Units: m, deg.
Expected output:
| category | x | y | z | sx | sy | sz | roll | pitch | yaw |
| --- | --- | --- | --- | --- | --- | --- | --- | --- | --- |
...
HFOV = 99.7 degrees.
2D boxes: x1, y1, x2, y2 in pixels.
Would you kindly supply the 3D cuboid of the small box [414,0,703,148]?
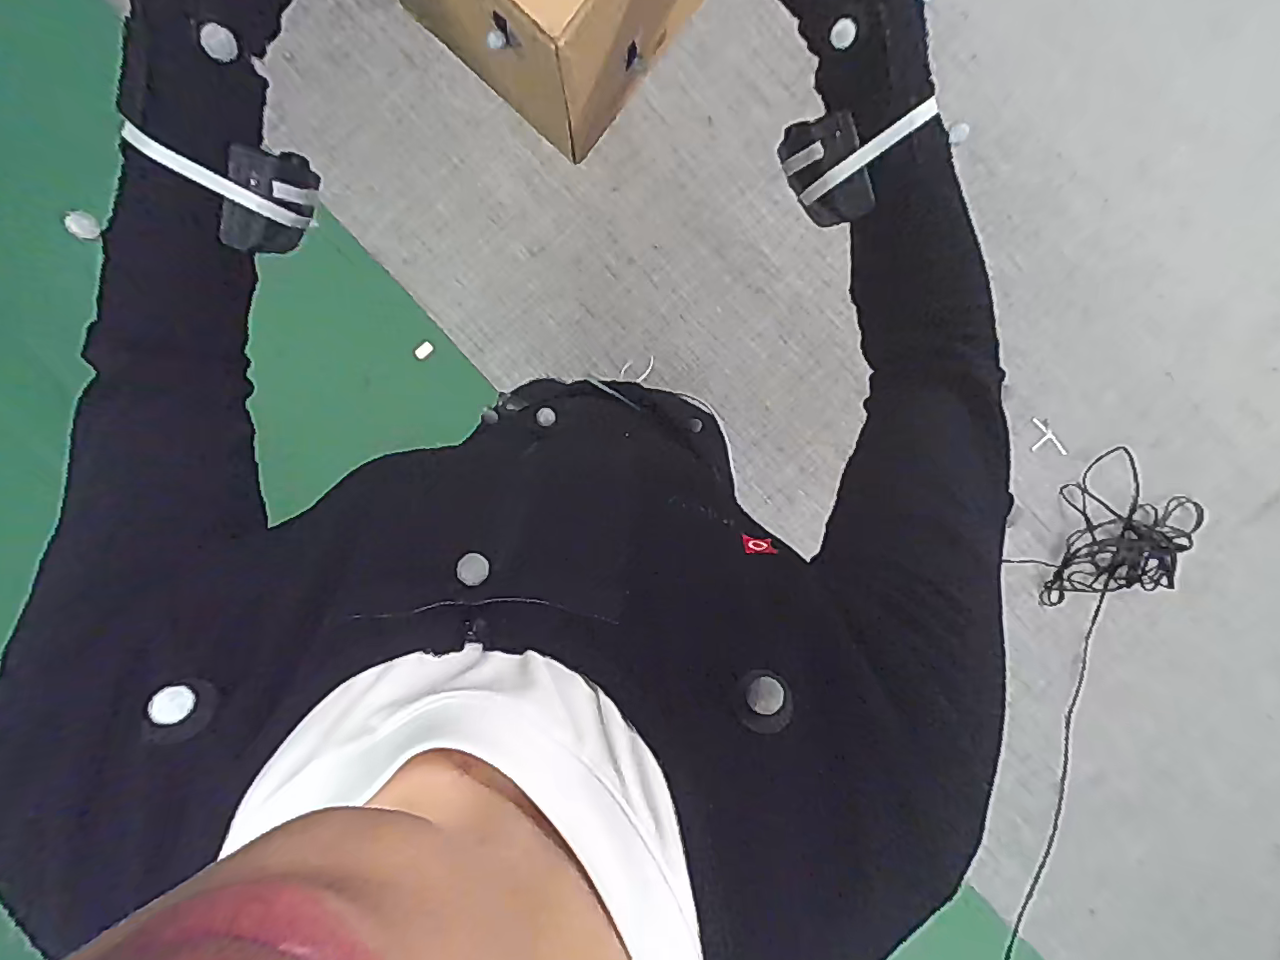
| category | x | y | z | sx | sy | sz | roll | pitch | yaw |
| --- | --- | --- | --- | --- | --- | --- | --- | --- | --- |
| small box | -0.058 | -0.363 | 0.346 | 0.179 | 0.176 | 0.168 | 40 | 96 | -10 |
